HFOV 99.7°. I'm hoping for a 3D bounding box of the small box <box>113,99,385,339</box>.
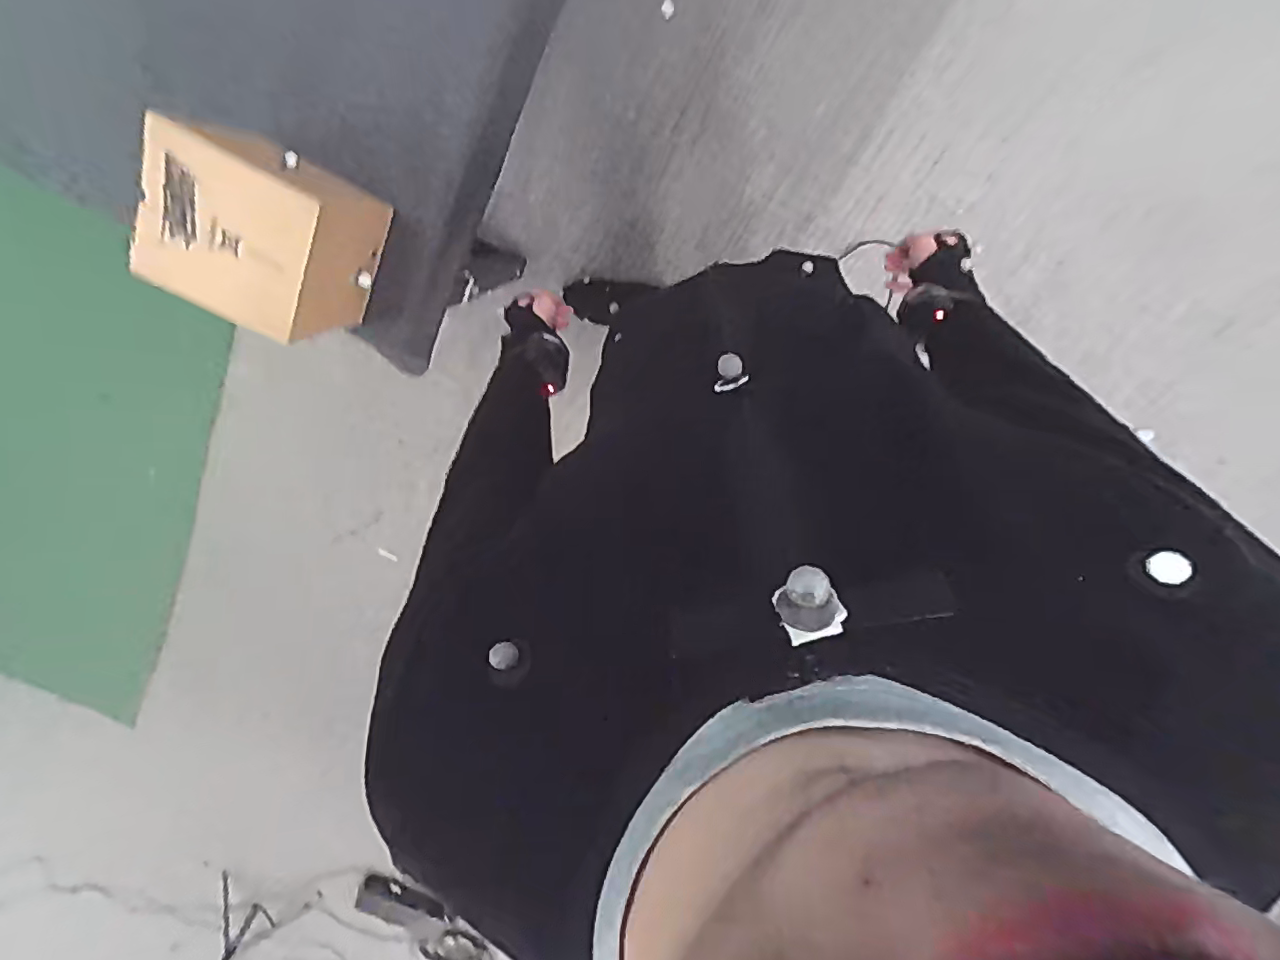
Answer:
[{"bbox_3d":[-0.433,-0.287,0.621,0.179,0.176,0.168,27,113,-10],"label":"small box"}]
